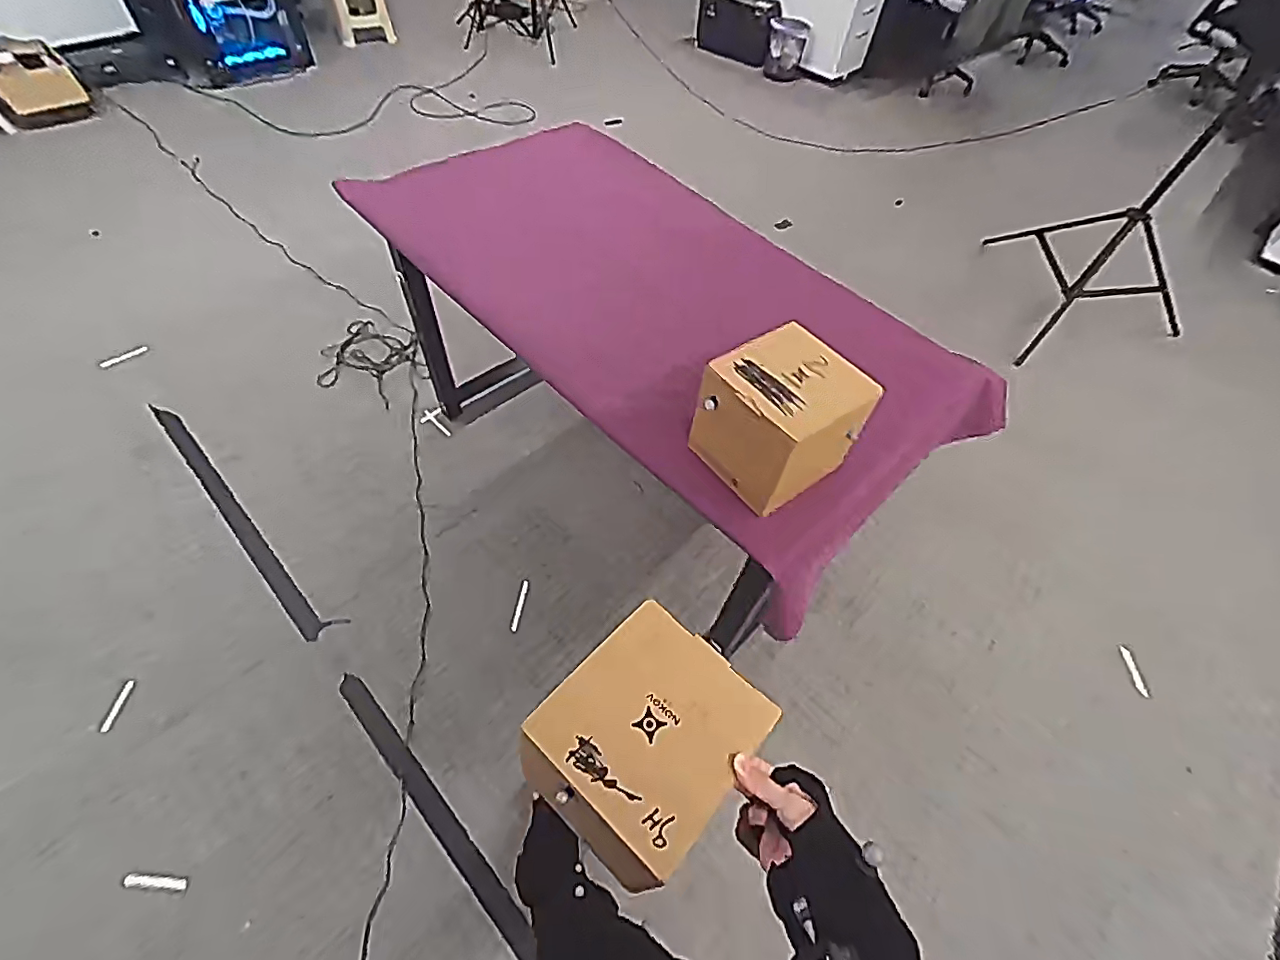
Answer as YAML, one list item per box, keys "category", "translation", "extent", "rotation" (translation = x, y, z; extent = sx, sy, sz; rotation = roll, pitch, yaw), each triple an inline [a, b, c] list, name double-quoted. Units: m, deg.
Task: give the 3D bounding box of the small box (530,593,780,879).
- category: "small box"
  translation: [0.003, 0.255, 0.541]
  extent: [0.168, 0.176, 0.179]
  rotation: [39, 54, 19]
